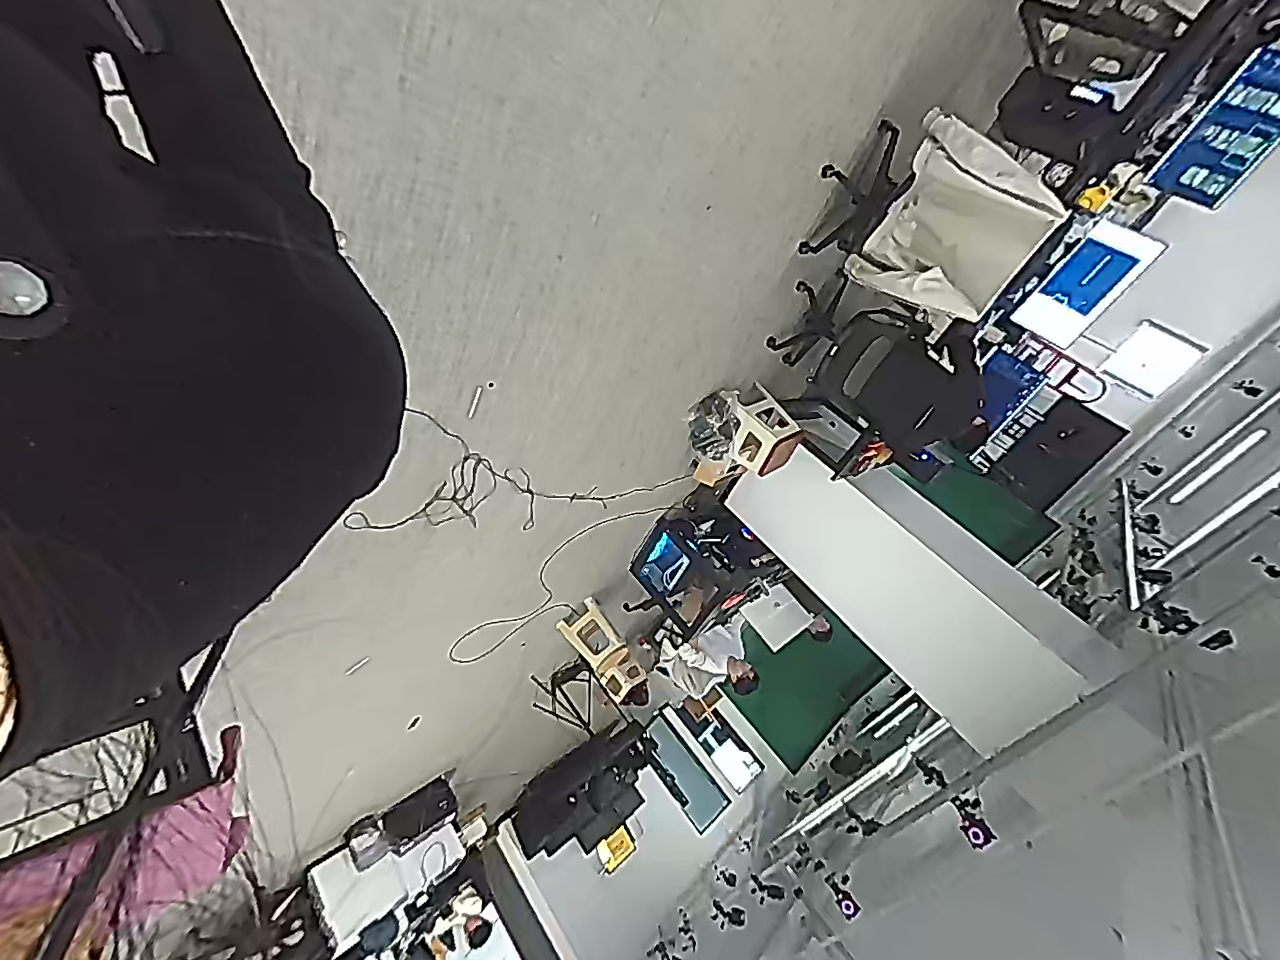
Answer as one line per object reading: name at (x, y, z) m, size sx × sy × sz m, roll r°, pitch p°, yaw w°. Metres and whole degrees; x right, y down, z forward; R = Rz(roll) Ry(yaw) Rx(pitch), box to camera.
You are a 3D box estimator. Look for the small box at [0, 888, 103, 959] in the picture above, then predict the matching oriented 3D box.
small box at (-1.301, 1.048, 1.181) m, size 0.168 × 0.176 × 0.179 m, roll -9°, pitch 137°, yaw -50°
